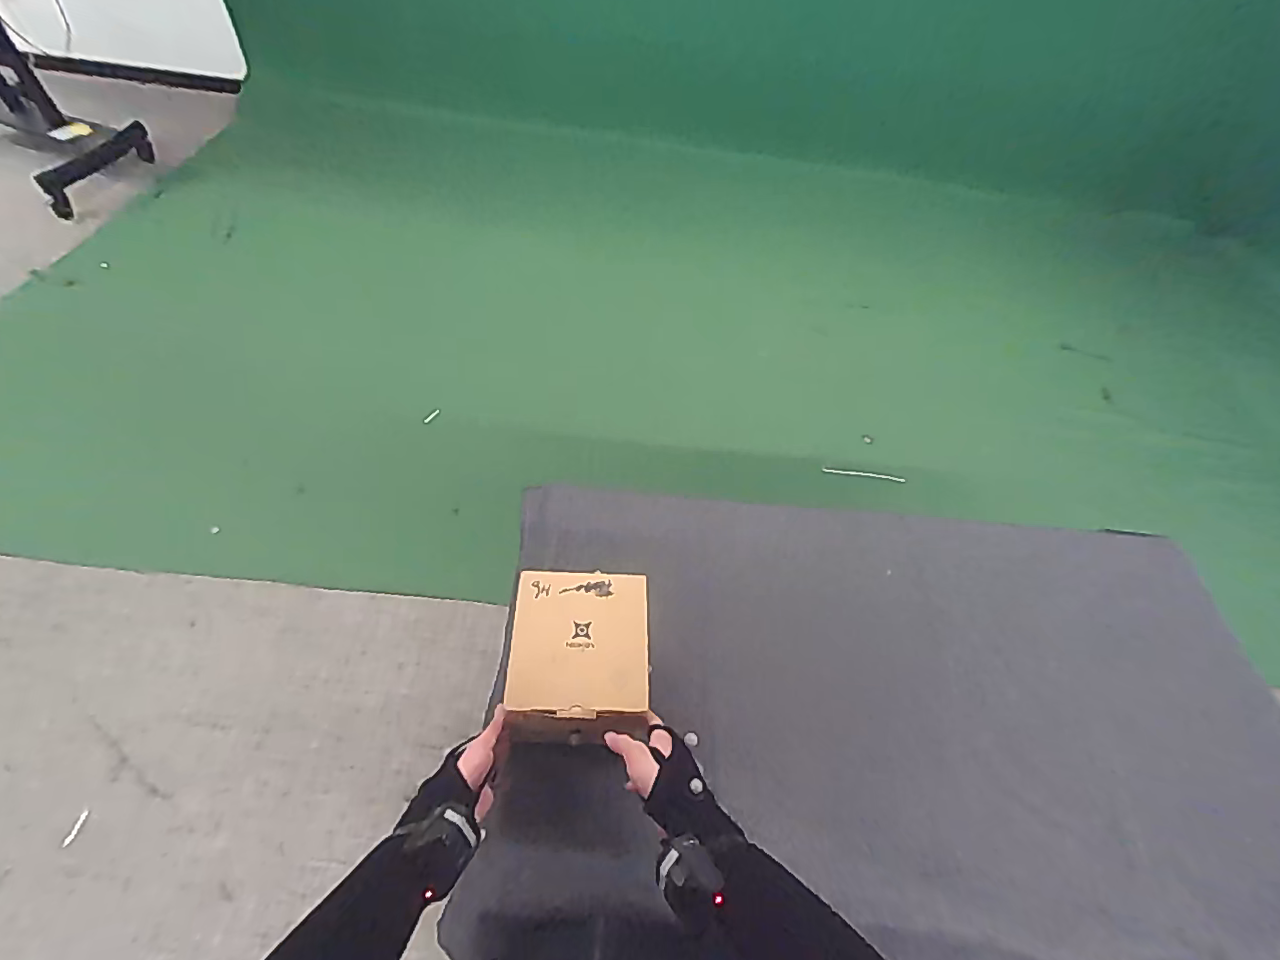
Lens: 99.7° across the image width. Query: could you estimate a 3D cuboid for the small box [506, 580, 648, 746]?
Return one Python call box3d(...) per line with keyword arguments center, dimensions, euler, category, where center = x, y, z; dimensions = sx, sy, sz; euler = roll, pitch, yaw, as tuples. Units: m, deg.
box3d(center=(-0.079, 0.252, 0.728), dimensions=(0.168, 0.176, 0.179), euler=(4, 55, -6), category="small box")
